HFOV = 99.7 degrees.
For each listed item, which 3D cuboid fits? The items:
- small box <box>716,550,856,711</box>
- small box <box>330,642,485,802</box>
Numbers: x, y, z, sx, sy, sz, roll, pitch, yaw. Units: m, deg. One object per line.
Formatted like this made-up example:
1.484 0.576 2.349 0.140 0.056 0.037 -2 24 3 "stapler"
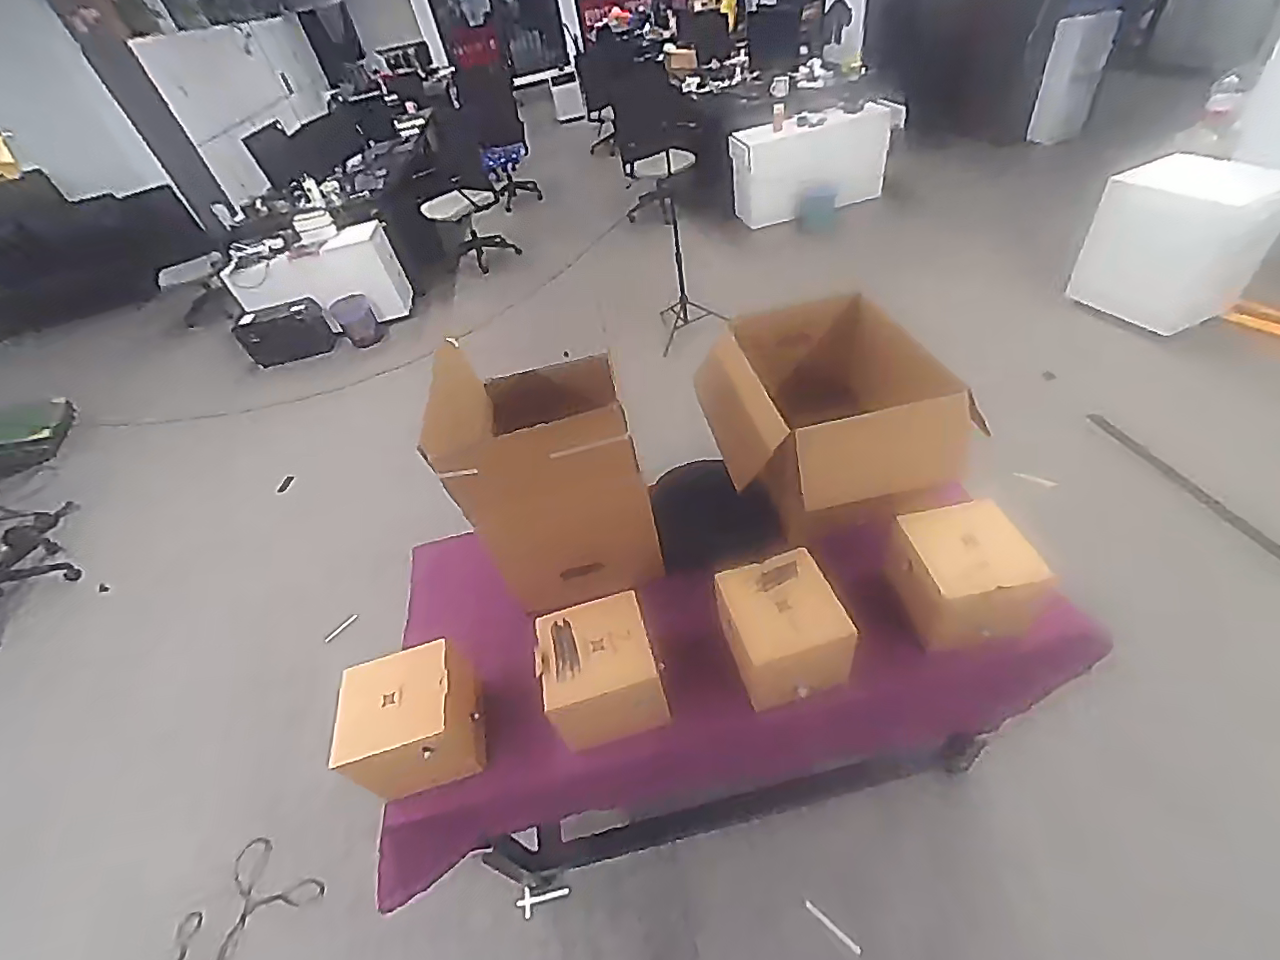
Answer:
0.235 0.251 0.904 0.168 0.176 0.179 -17 44 -2 "small box"
-0.374 0.406 0.902 0.179 0.176 0.168 -17 43 -5 "small box"
